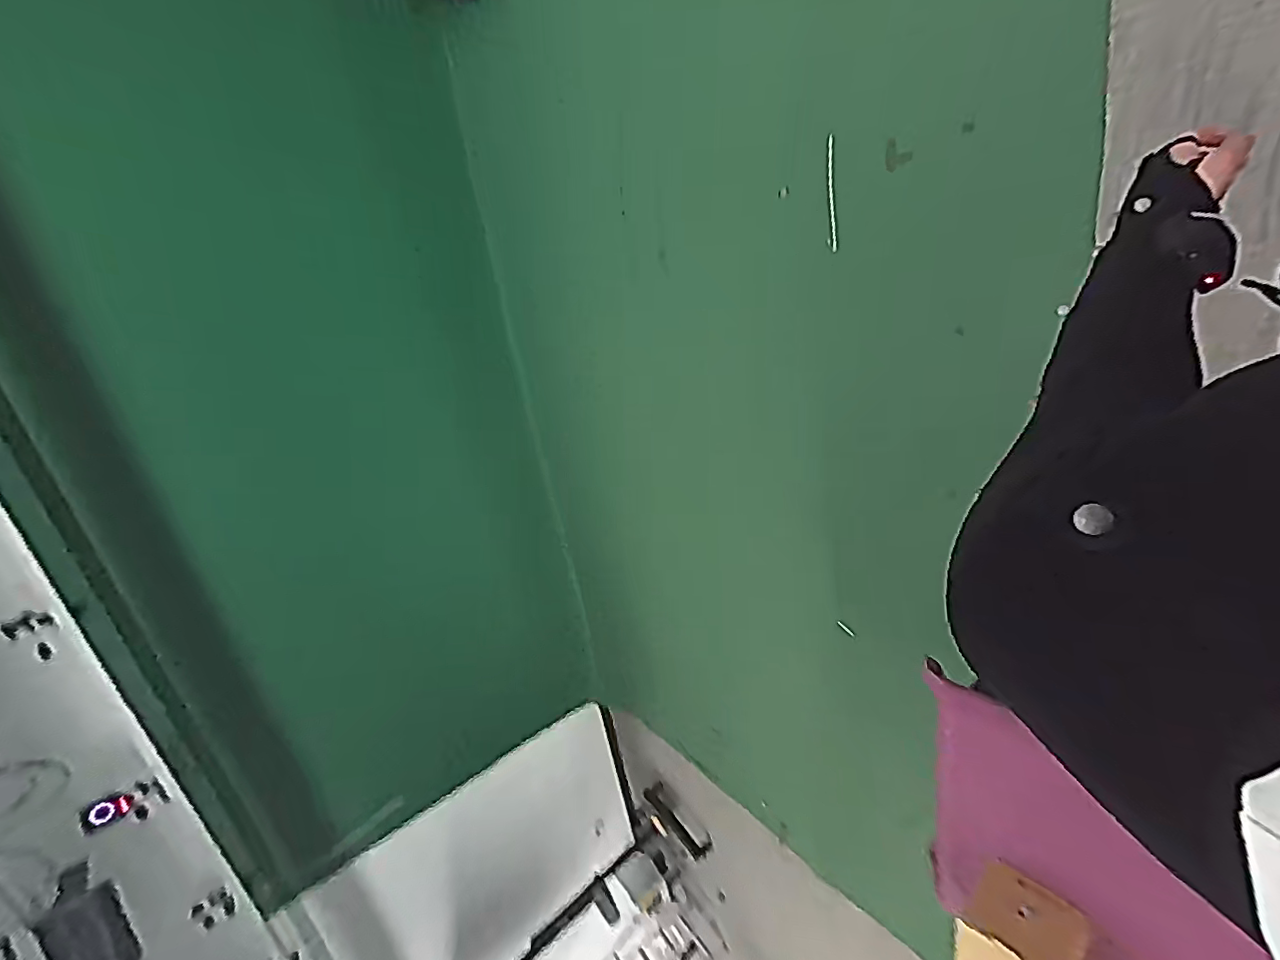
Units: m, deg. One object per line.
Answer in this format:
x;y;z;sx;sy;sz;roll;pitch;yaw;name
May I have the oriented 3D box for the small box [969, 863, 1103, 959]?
0.764;0.904;1.047;0.168;0.176;0.179;15;121;51;small box
